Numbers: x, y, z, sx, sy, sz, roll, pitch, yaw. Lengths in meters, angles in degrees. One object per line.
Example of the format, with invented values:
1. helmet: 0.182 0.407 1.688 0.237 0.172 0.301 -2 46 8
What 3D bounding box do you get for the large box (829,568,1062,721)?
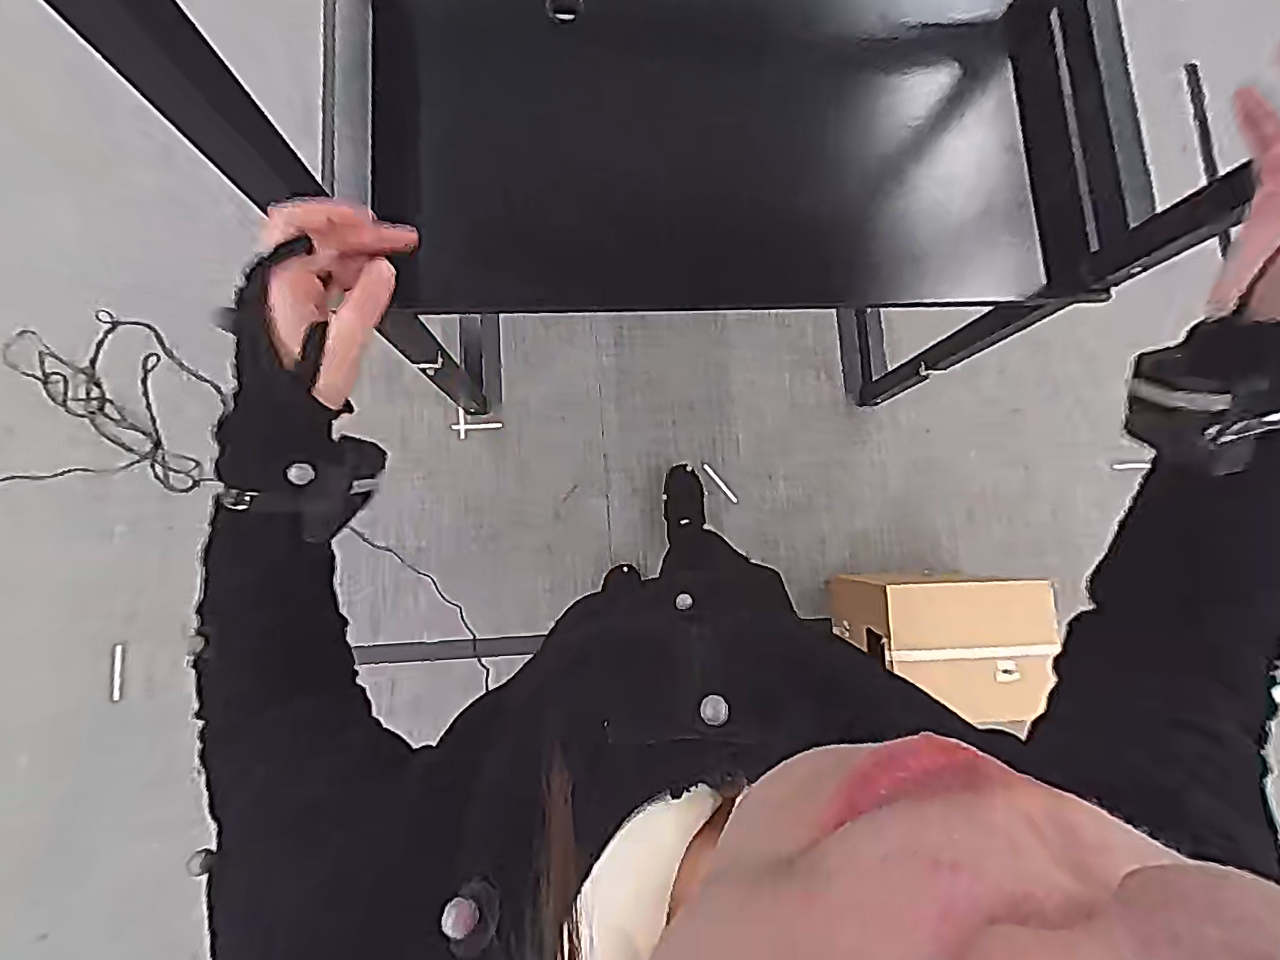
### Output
1. large box: 0.743 0.391 1.372 0.408 0.320 0.320 -1 85 -5
